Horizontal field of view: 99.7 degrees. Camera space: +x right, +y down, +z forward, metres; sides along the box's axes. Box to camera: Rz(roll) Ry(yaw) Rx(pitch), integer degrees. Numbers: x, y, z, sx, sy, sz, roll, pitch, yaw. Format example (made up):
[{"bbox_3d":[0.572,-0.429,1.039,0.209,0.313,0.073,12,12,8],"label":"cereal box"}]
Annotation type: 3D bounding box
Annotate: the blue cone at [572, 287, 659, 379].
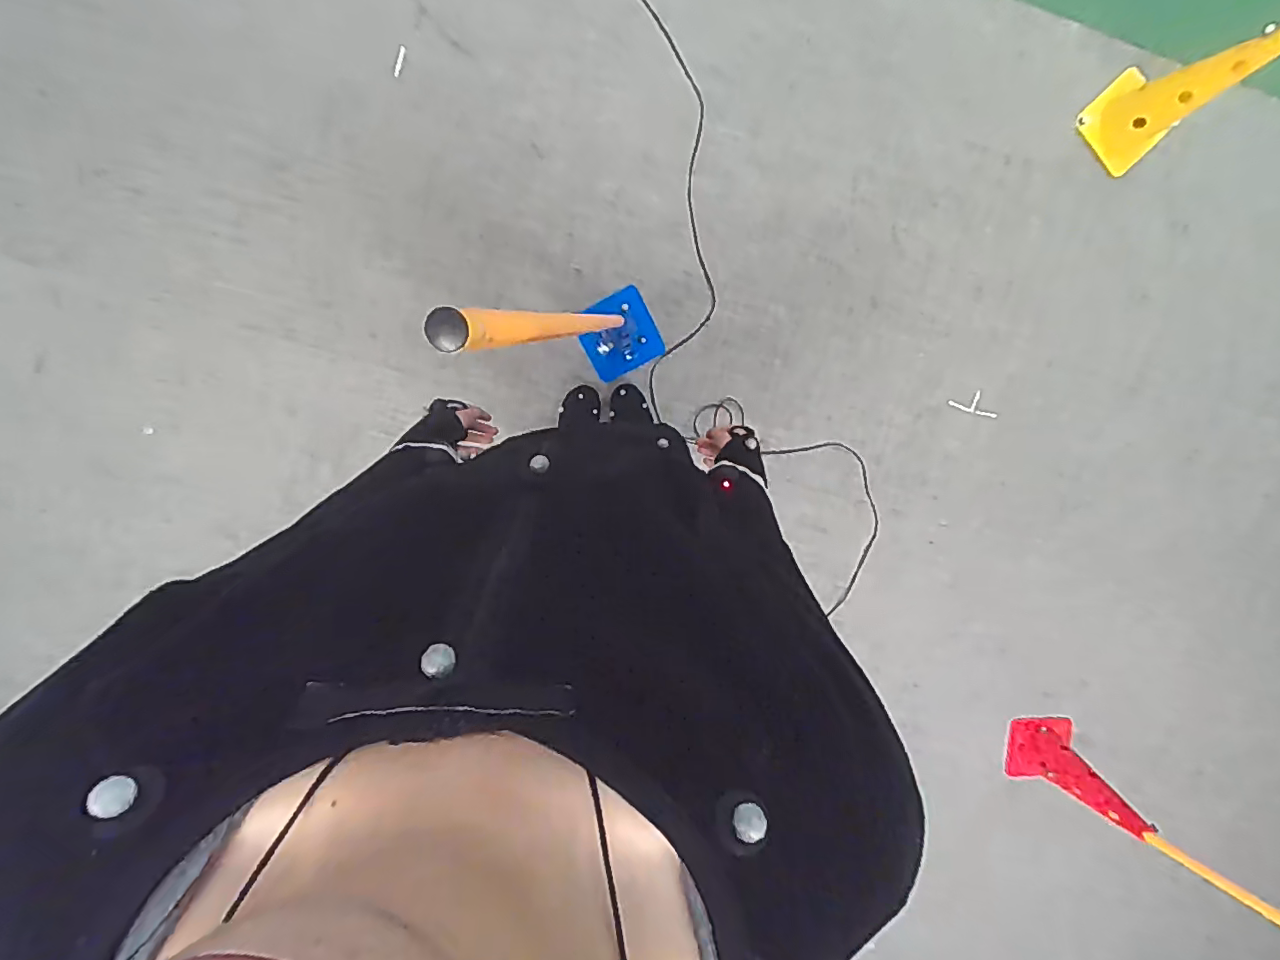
[{"bbox_3d":[-0.056,-0.350,1.261,0.193,0.380,0.192,-29,101,4],"label":"blue cone"}]
